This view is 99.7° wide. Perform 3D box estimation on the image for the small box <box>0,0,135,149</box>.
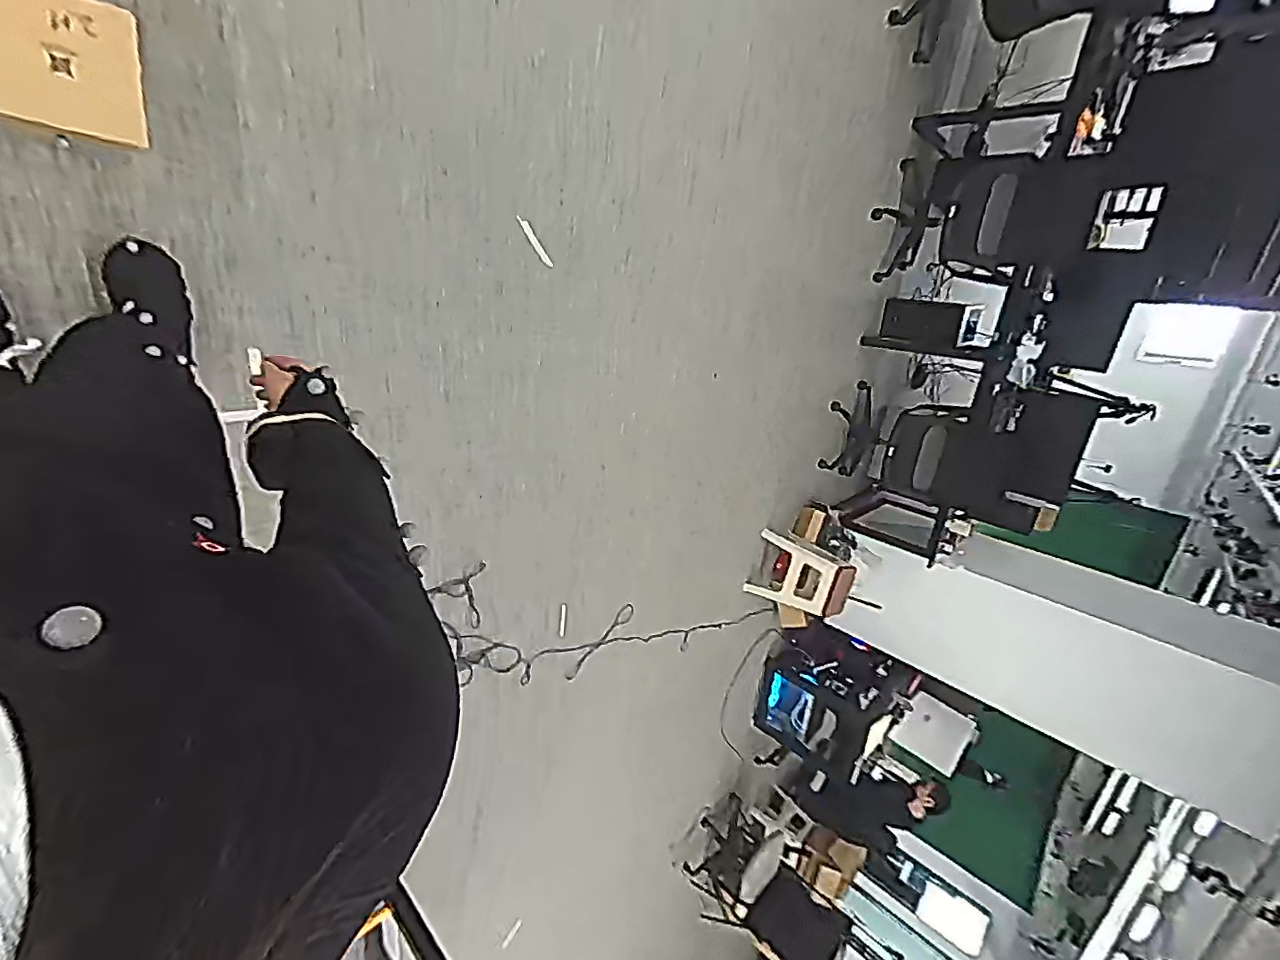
[{"bbox_3d":[-0.857,-0.599,0.778,0.168,0.176,0.179,-10,115,-48],"label":"small box"}]
